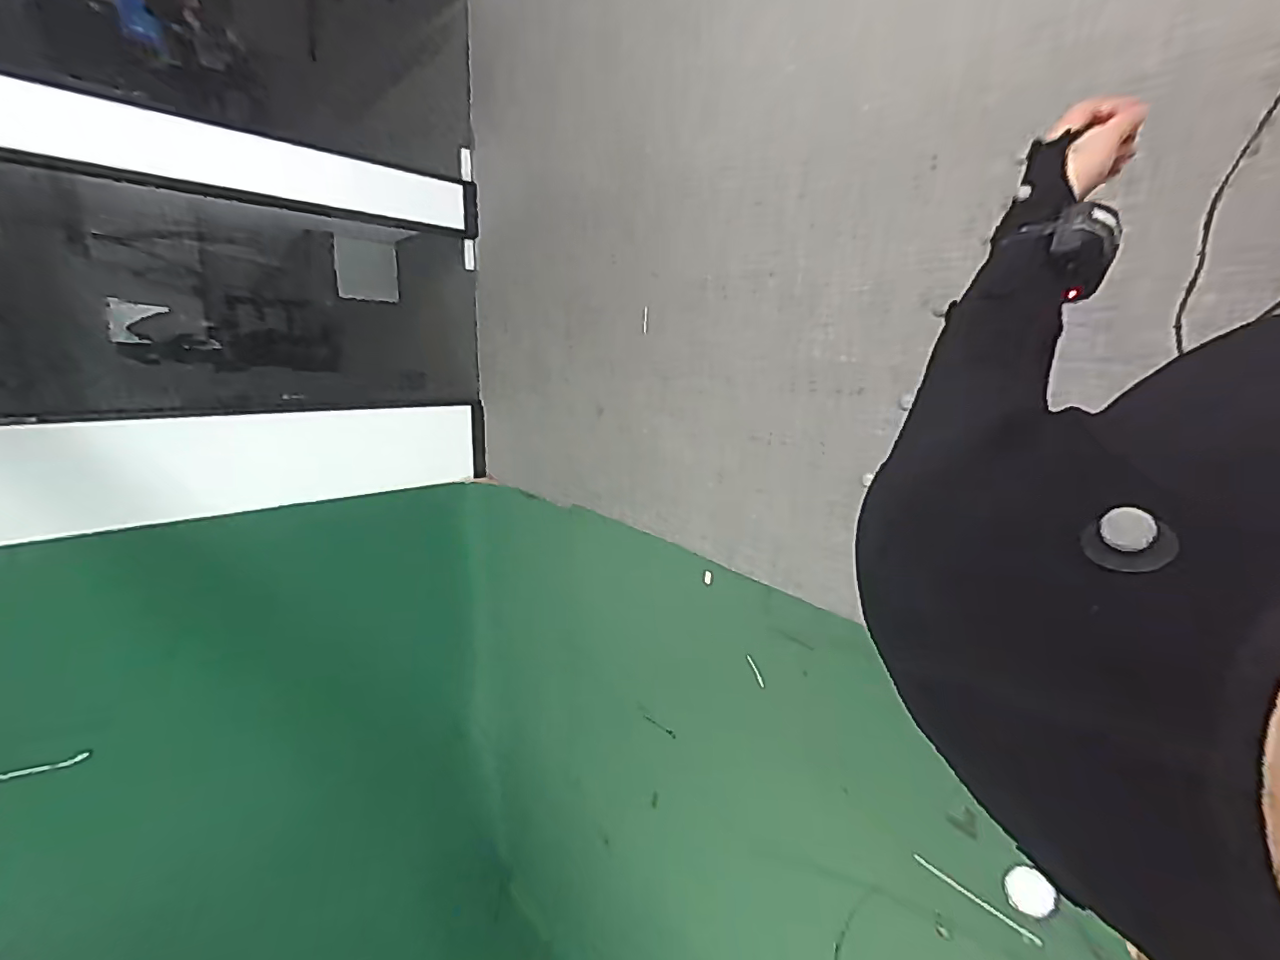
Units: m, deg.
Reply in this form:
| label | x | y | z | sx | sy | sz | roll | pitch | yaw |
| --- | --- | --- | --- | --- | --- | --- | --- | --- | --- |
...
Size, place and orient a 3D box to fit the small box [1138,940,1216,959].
| label | x | y | z | sx | sy | sz | roll | pitch | yaw |
| --- | --- | --- | --- | --- | --- | --- | --- | --- | --- |
| small box | 0.897 | 0.882 | 0.833 | 0.168 | 0.176 | 0.179 | -19 | 83 | 48 |
